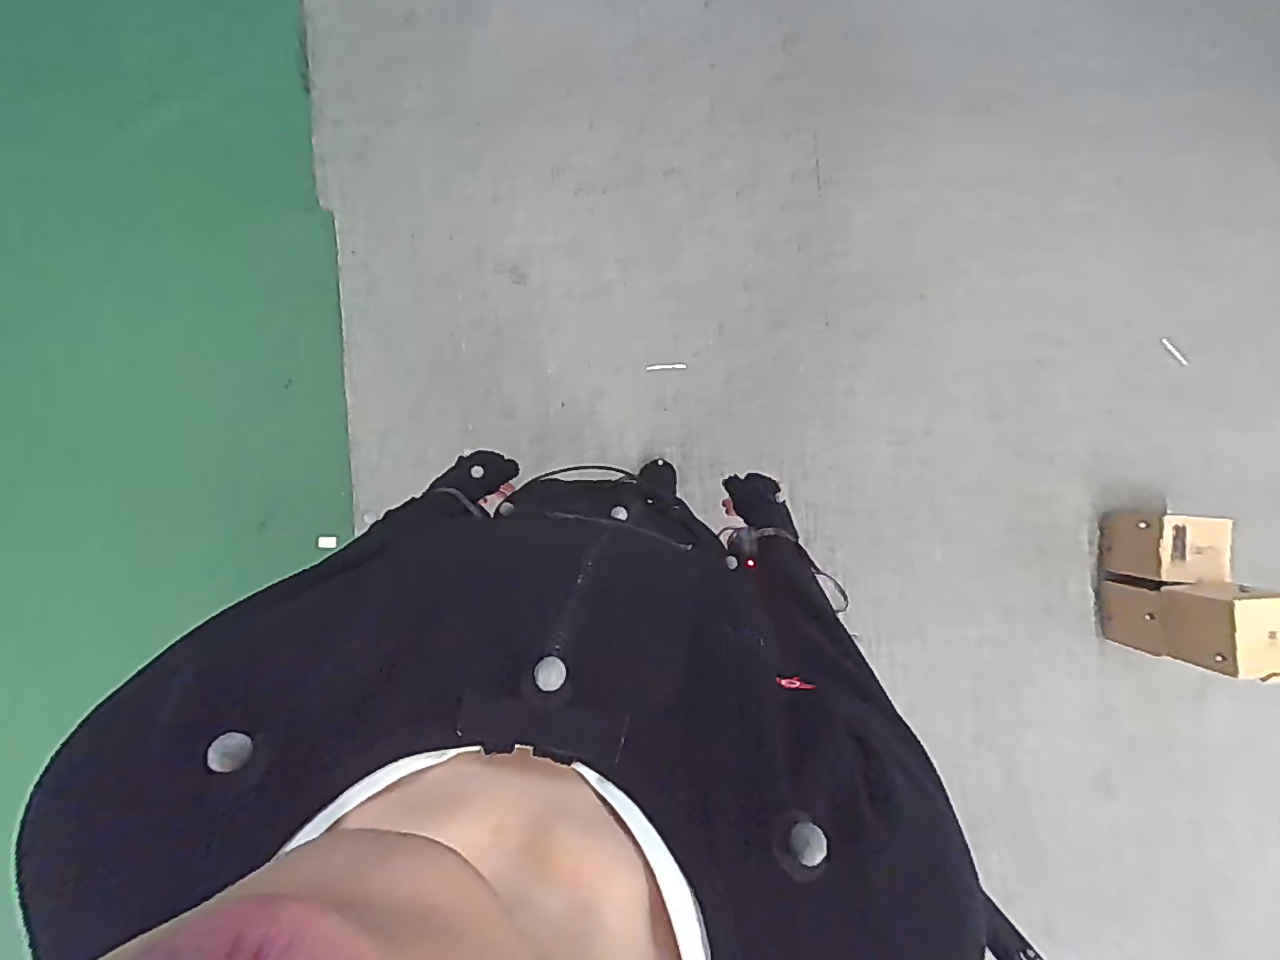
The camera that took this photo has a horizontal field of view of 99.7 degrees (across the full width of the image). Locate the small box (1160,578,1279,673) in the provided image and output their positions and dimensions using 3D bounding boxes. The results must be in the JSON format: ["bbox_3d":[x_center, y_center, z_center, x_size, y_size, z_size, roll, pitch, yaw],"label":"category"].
[{"bbox_3d":[1.361,0.326,1.251,0.168,0.176,0.179,-4,91,-1],"label":"small box"}]
